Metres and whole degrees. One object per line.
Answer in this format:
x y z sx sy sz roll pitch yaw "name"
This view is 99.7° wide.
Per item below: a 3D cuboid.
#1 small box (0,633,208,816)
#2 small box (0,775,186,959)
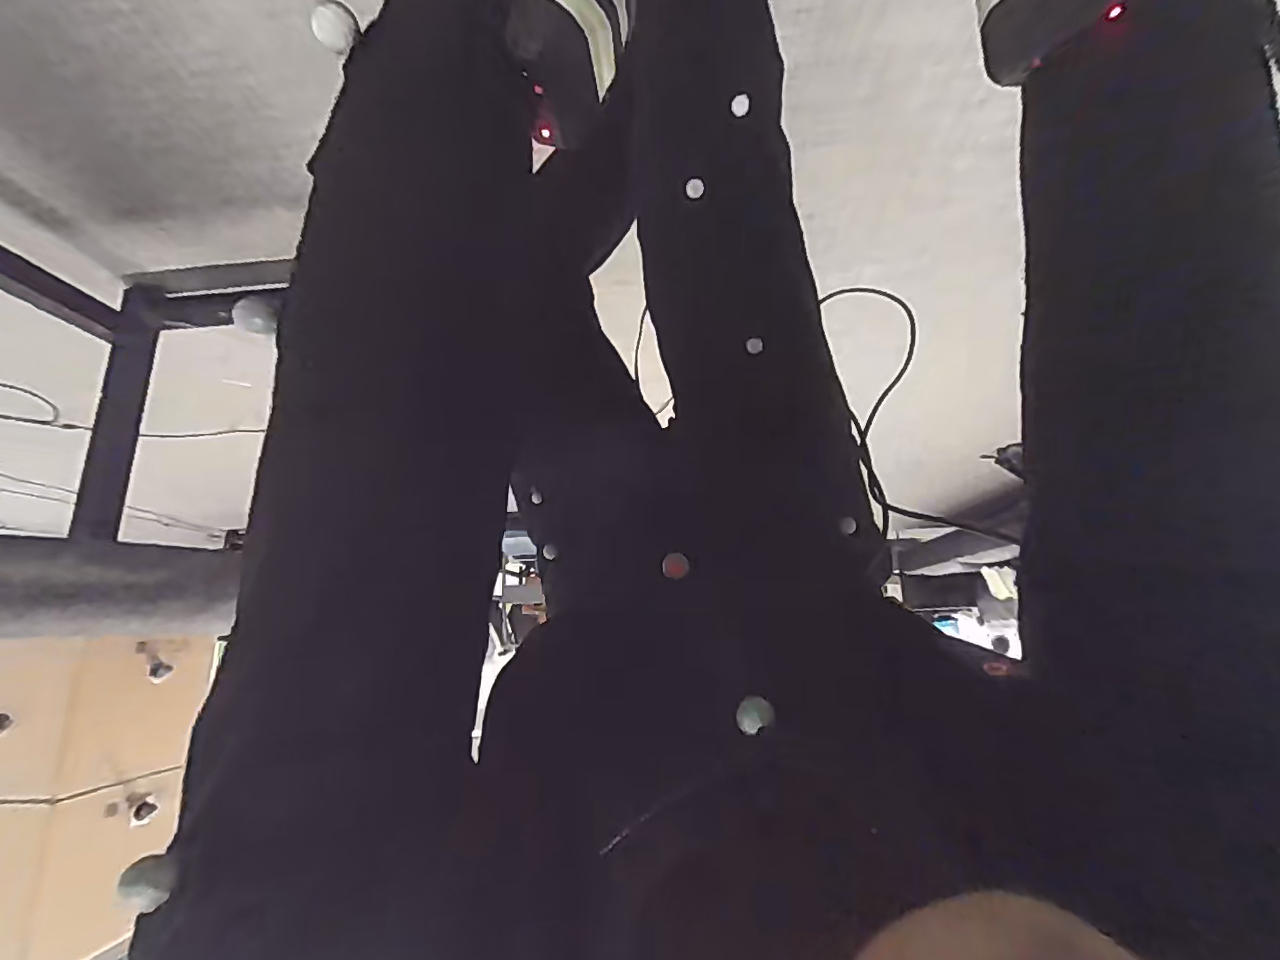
-0.656 0.272 0.632 0.179 0.176 0.168 -5 165 5 "small box"
-0.648 0.428 0.589 0.179 0.176 0.168 -5 166 5 "small box"
